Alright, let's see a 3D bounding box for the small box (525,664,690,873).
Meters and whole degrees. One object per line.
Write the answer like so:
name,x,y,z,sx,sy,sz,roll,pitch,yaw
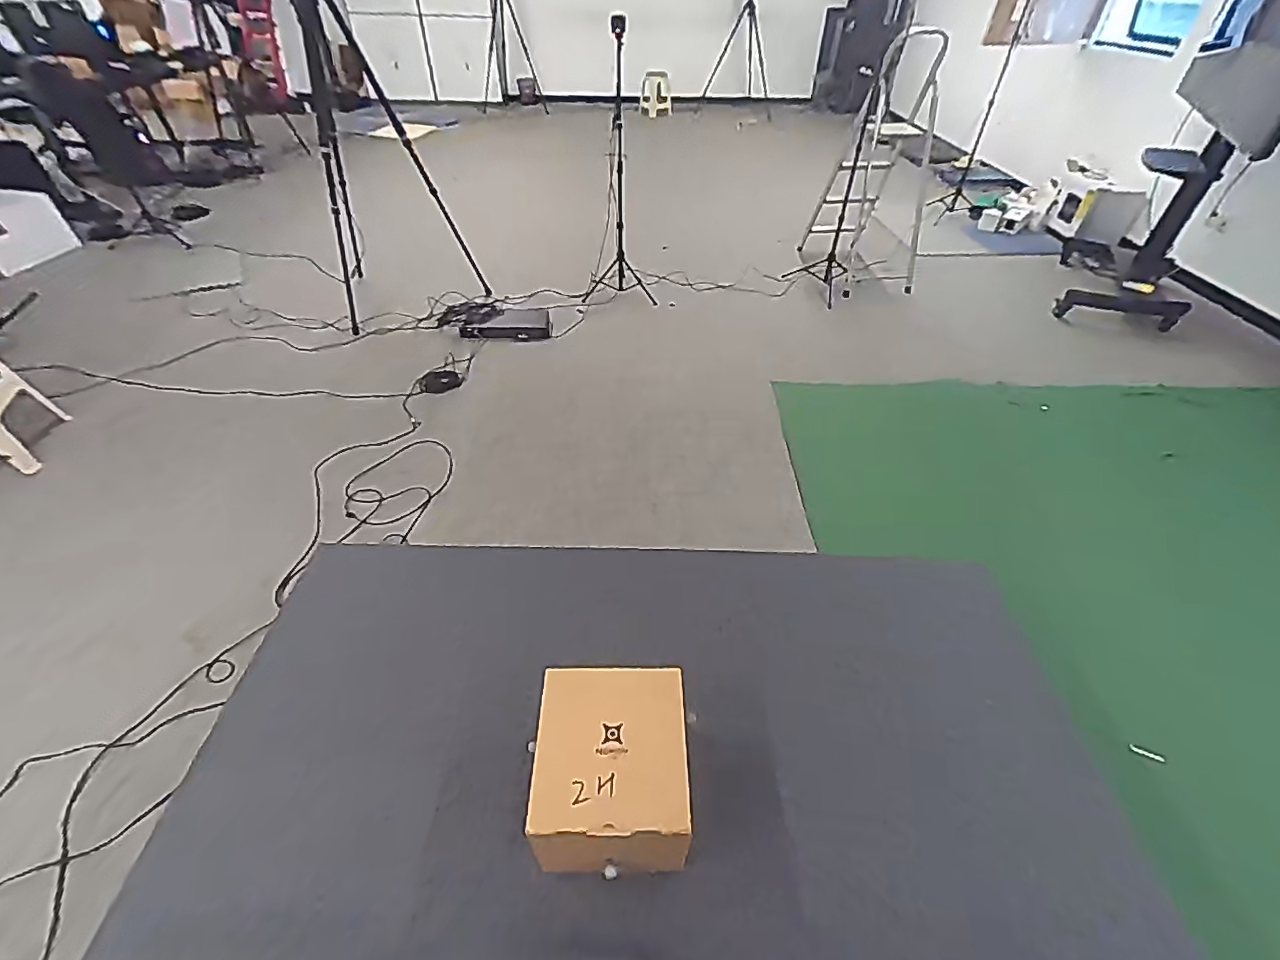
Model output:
small box,-0.034,0.341,0.643,0.168,0.176,0.179,0,43,-1
